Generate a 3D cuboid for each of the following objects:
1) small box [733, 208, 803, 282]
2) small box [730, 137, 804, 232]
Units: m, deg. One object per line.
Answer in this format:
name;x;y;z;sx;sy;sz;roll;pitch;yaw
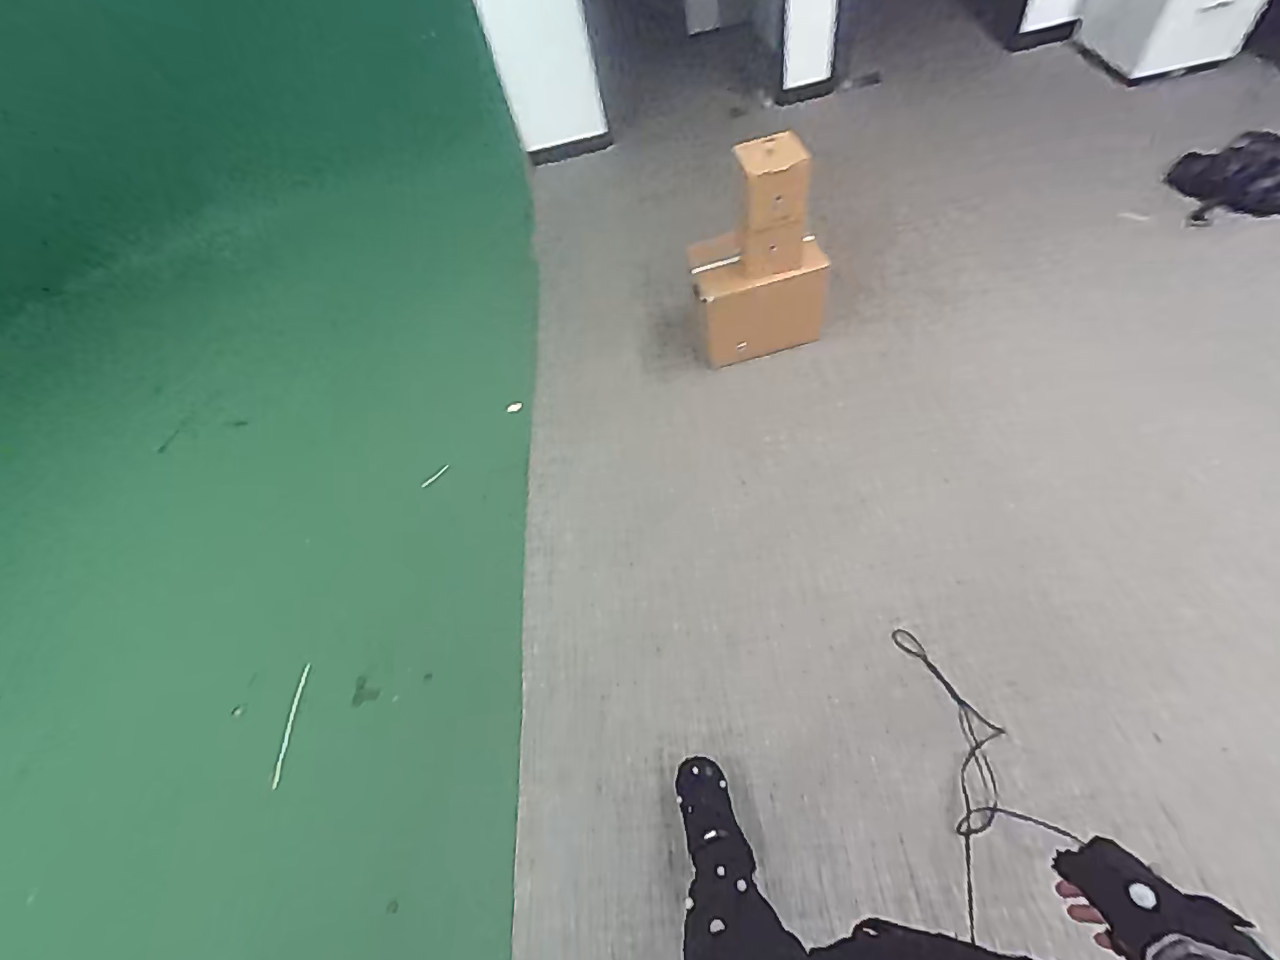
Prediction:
small box;0.395;-0.753;1.692;0.179;0.176;0.168;-12;55;5
small box;0.364;-0.841;1.558;0.168;0.176;0.179;-14;56;3
